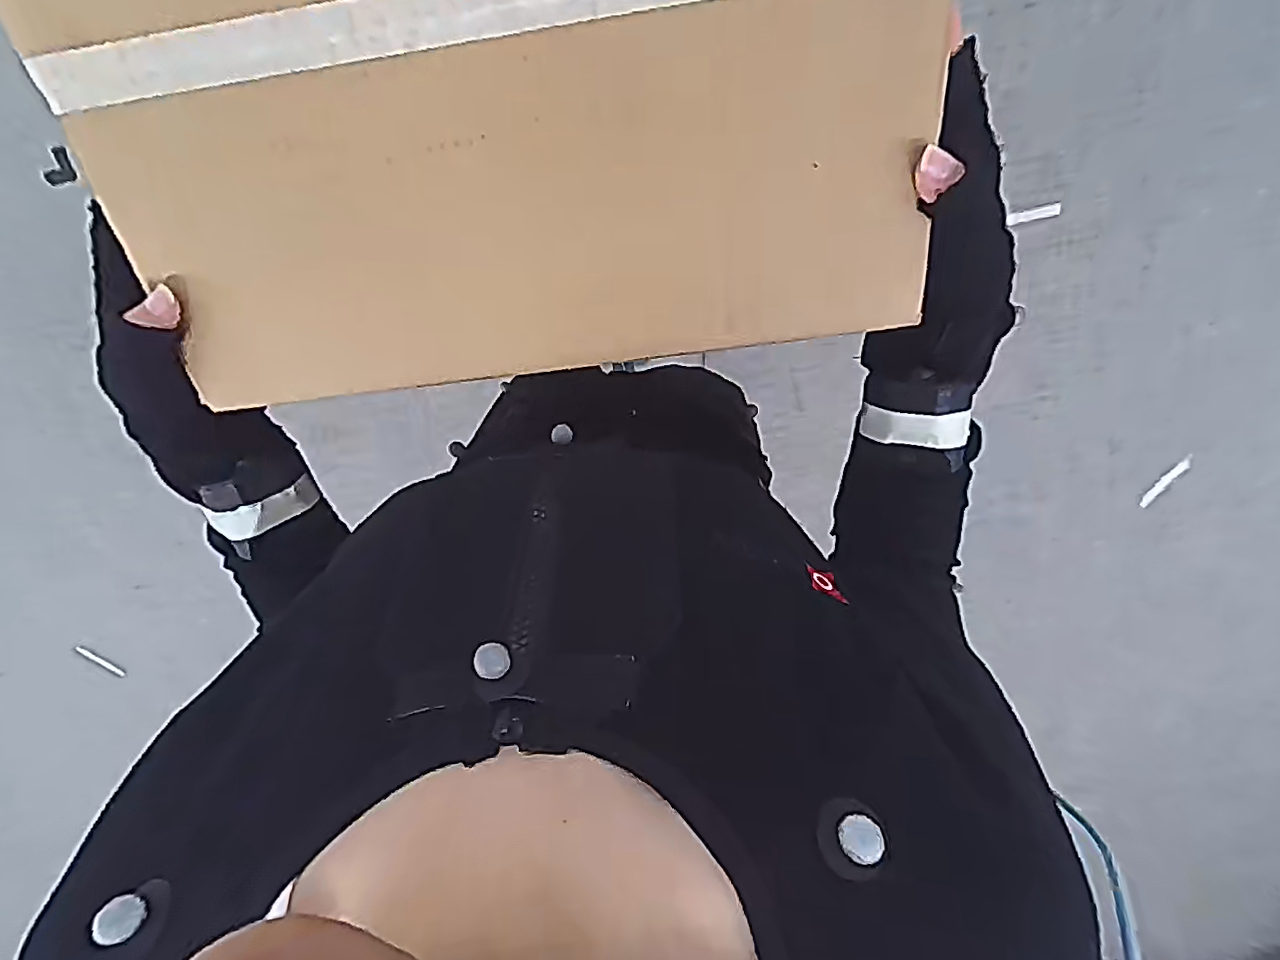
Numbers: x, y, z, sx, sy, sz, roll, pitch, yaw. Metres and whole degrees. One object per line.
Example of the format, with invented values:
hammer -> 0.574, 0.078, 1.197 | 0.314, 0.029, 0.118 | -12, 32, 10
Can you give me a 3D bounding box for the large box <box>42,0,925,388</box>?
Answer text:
large box -> -0.071, -0.279, 0.377 | 0.408, 0.320, 0.320 | -6, 117, 4
